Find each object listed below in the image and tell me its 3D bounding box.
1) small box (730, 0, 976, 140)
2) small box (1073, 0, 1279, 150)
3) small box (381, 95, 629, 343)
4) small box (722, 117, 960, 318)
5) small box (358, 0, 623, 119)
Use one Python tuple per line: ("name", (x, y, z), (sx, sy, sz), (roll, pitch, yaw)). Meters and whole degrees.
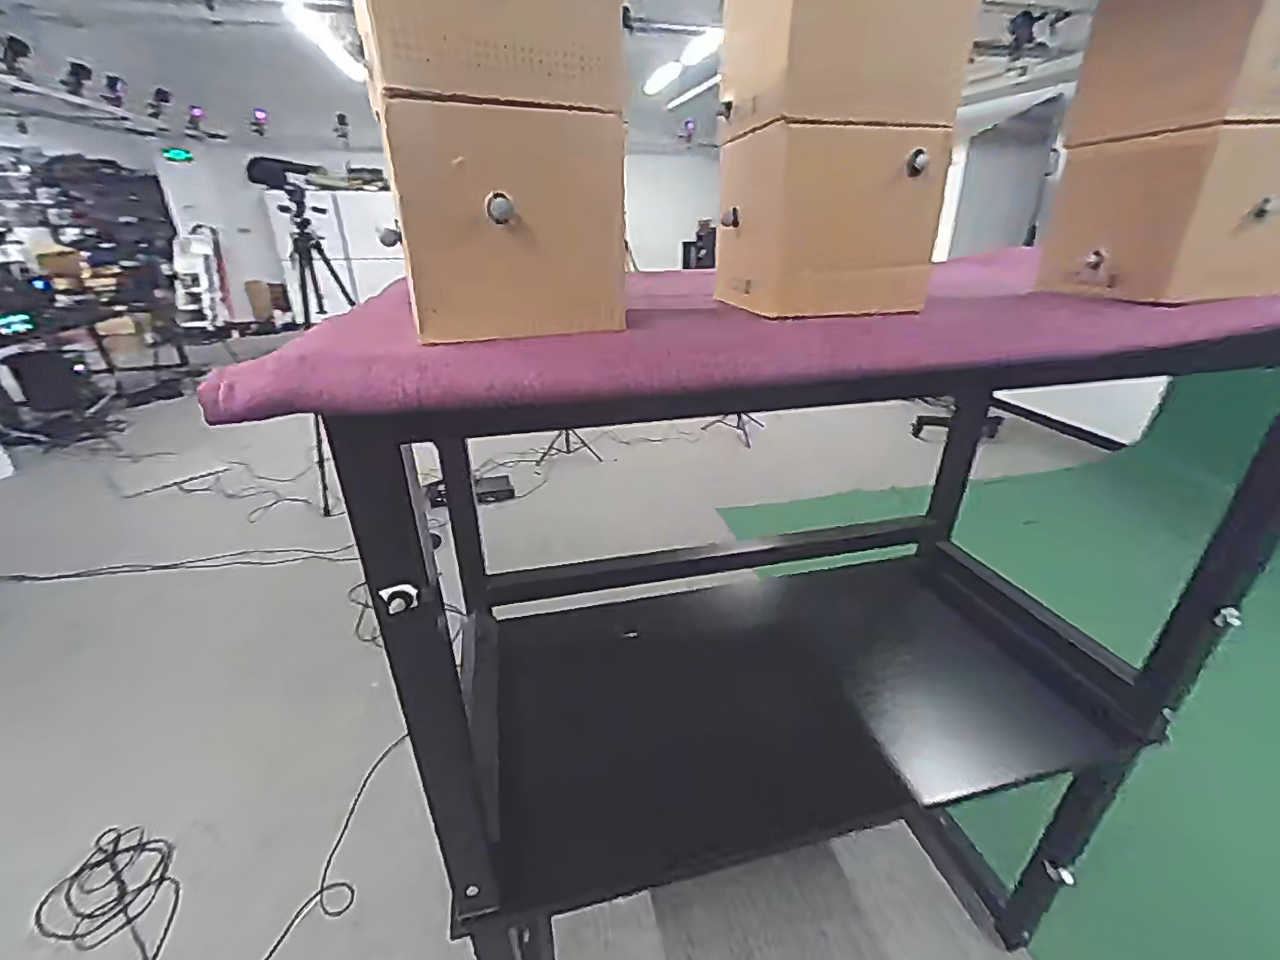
("small box", (0.191, -0.421, 0.512), (0.179, 0.176, 0.168), (-4, 25, -11))
("small box", (0.607, -0.451, 0.554), (0.168, 0.176, 0.179), (-7, 25, -10))
("small box", (-0.117, -0.224, 0.483), (0.179, 0.176, 0.168), (-11, 29, -20))
("small box", (0.193, -0.270, 0.577), (0.179, 0.176, 0.168), (-5, 25, -11))
("small box", (-0.118, -0.370, 0.411), (0.179, 0.176, 0.168), (-12, 28, -23))
